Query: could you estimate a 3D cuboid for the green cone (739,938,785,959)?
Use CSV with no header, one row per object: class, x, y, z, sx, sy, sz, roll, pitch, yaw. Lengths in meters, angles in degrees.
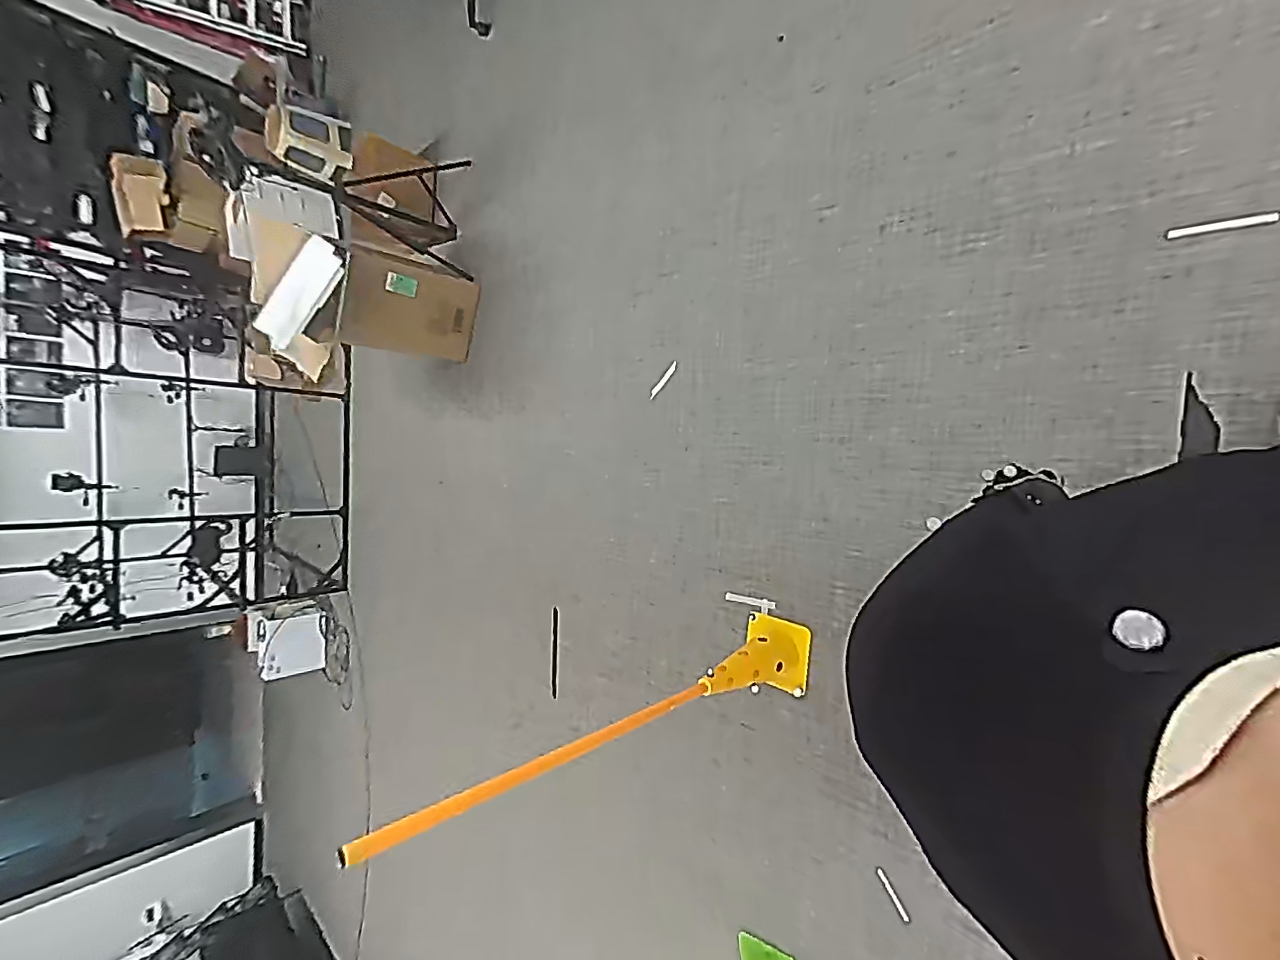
green cone,0.262,1.476,1.454,0.200,0.368,0.202,-9,82,43
